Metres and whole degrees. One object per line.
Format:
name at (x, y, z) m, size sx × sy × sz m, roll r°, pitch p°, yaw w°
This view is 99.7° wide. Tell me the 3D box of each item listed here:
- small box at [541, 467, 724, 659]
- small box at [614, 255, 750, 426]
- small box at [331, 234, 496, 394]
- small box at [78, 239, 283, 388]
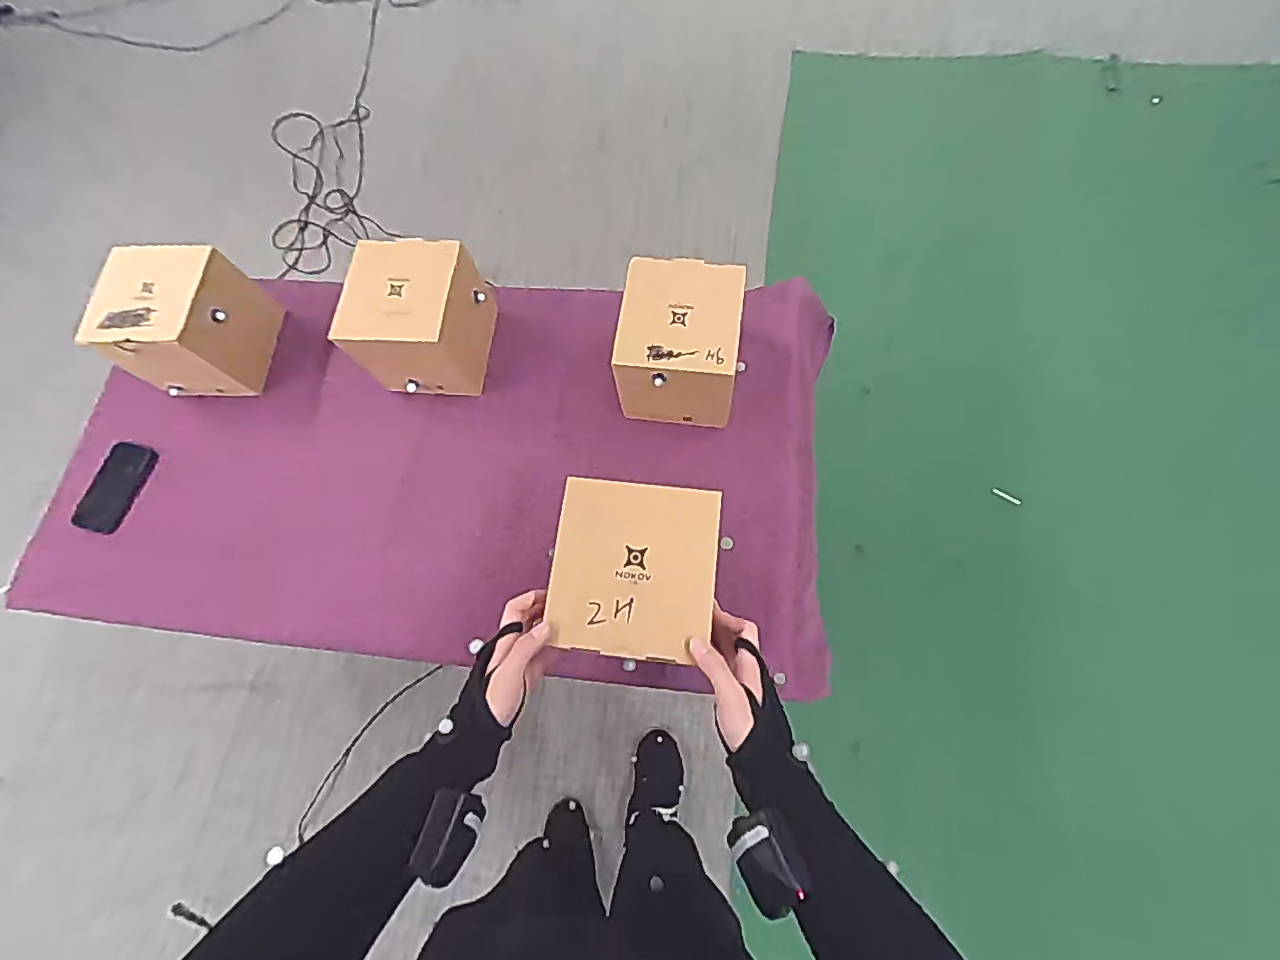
small box at (-0.001, 0.102, 0.617) m, size 0.168 × 0.176 × 0.179 m, roll 6°, pitch 72°, yaw 6°
small box at (0.064, -0.201, 0.804) m, size 0.168 × 0.176 × 0.179 m, roll 7°, pitch 72°, yaw 8°
small box at (-0.341, -0.257, 0.854) m, size 0.168 × 0.176 × 0.179 m, roll 4°, pitch 72°, yaw 6°
small box at (-0.729, -0.263, 0.883) m, size 0.168 × 0.176 × 0.179 m, roll 2°, pitch 71°, yaw 4°
